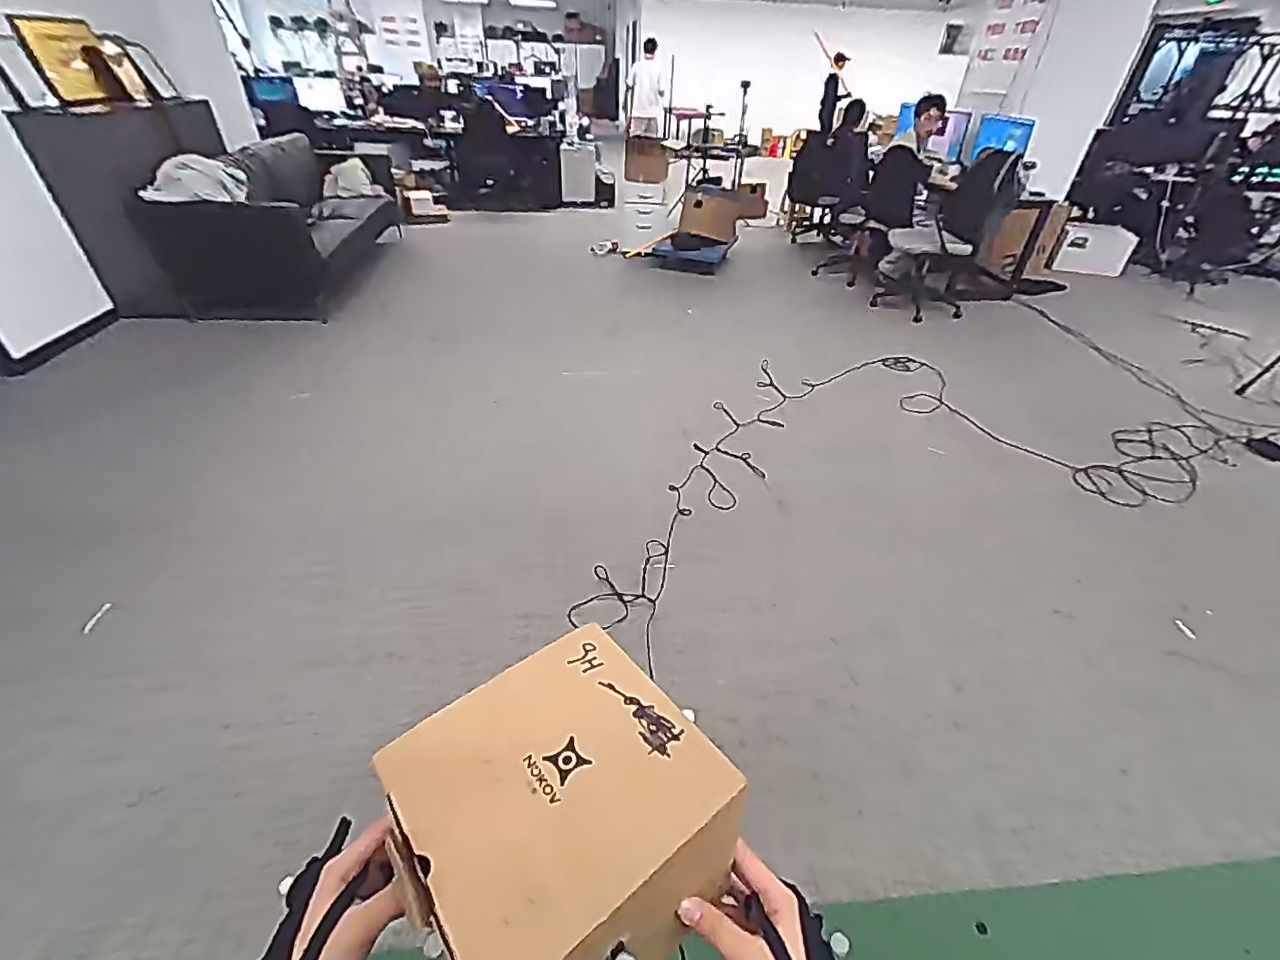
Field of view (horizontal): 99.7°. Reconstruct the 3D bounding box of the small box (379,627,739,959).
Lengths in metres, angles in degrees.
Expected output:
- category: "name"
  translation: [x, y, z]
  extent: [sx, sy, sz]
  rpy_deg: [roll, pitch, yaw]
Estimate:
- category: "small box"
  translation: [-0.050, 0.249, 0.383]
  extent: [0.179, 0.176, 0.168]
  rpy_deg: [-26, 41, -31]
